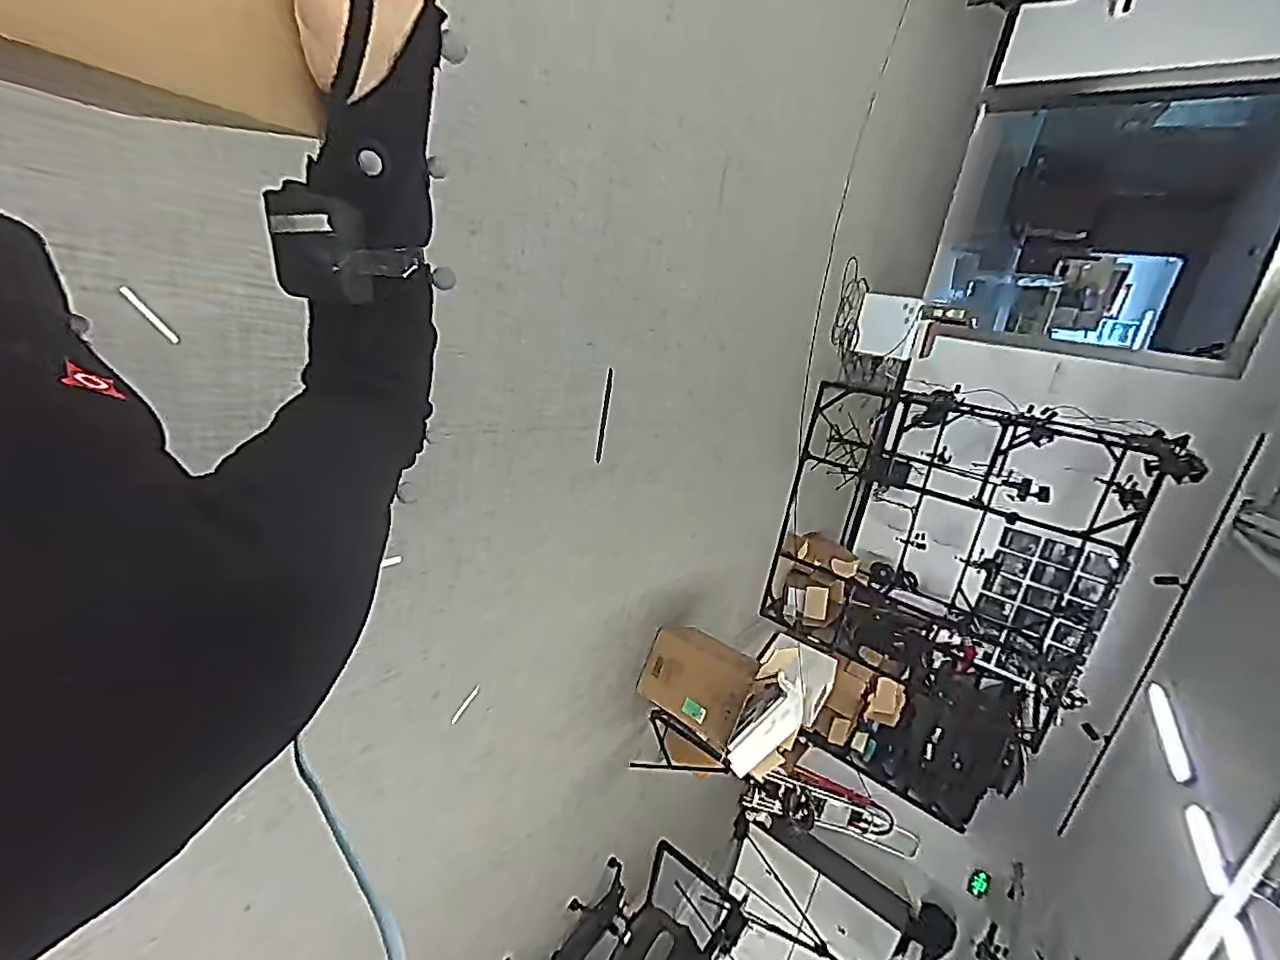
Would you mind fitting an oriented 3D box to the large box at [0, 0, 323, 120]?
[{"bbox_3d":[-0.383,-0.357,0.166,0.408,0.320,0.320,-19,128,-54],"label":"large box"}]
